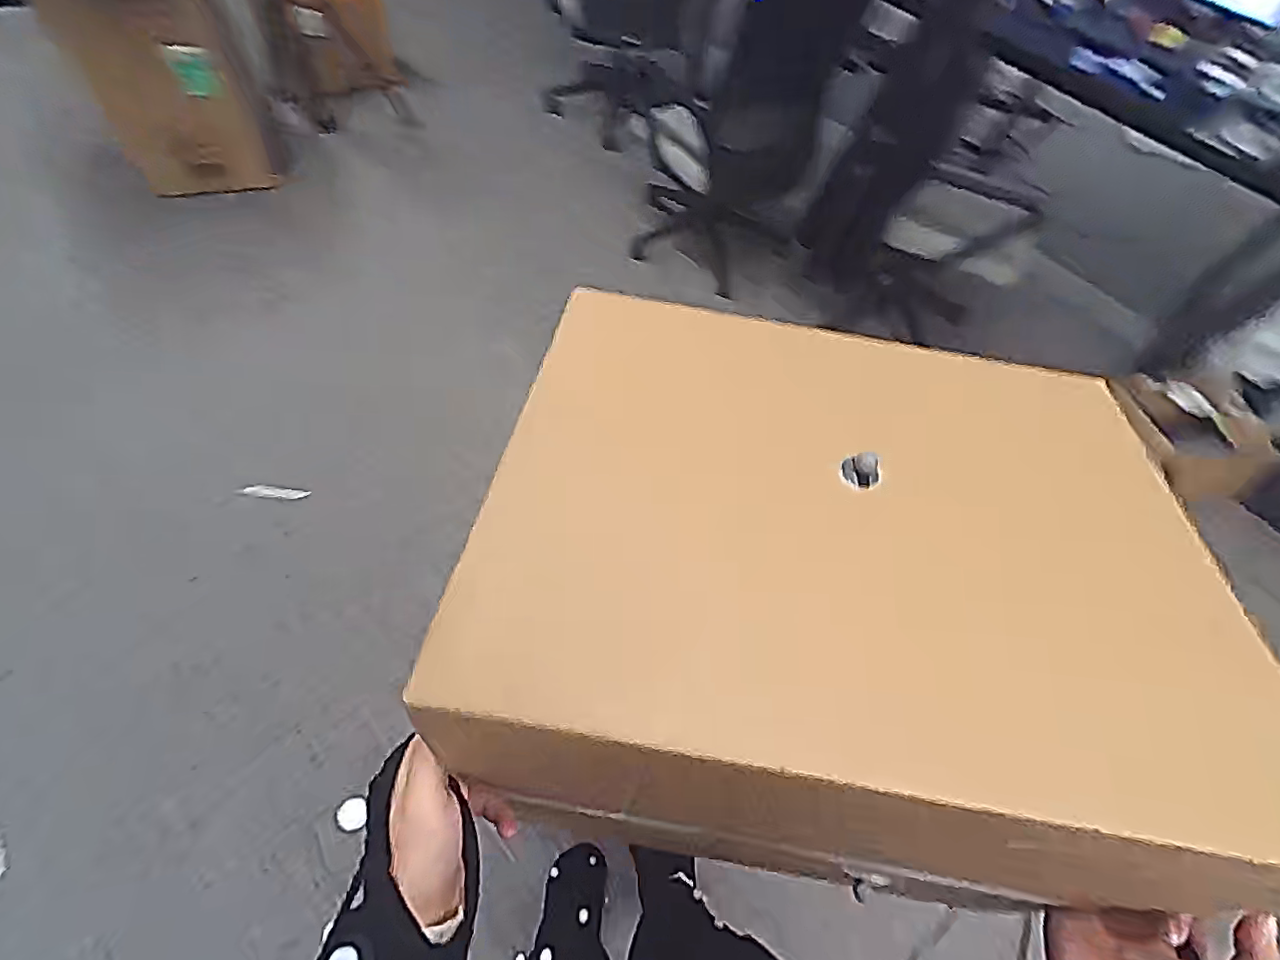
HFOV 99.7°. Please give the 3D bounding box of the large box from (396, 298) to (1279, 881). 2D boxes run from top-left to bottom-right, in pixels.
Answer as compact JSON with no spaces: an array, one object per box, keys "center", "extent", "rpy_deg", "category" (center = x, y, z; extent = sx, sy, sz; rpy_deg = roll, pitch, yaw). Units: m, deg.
[{"center":[0.098,0.091,0.427],"extent":[0.408,0.320,0.320],"rpy_deg":[8,52,0],"category":"large box"}]
